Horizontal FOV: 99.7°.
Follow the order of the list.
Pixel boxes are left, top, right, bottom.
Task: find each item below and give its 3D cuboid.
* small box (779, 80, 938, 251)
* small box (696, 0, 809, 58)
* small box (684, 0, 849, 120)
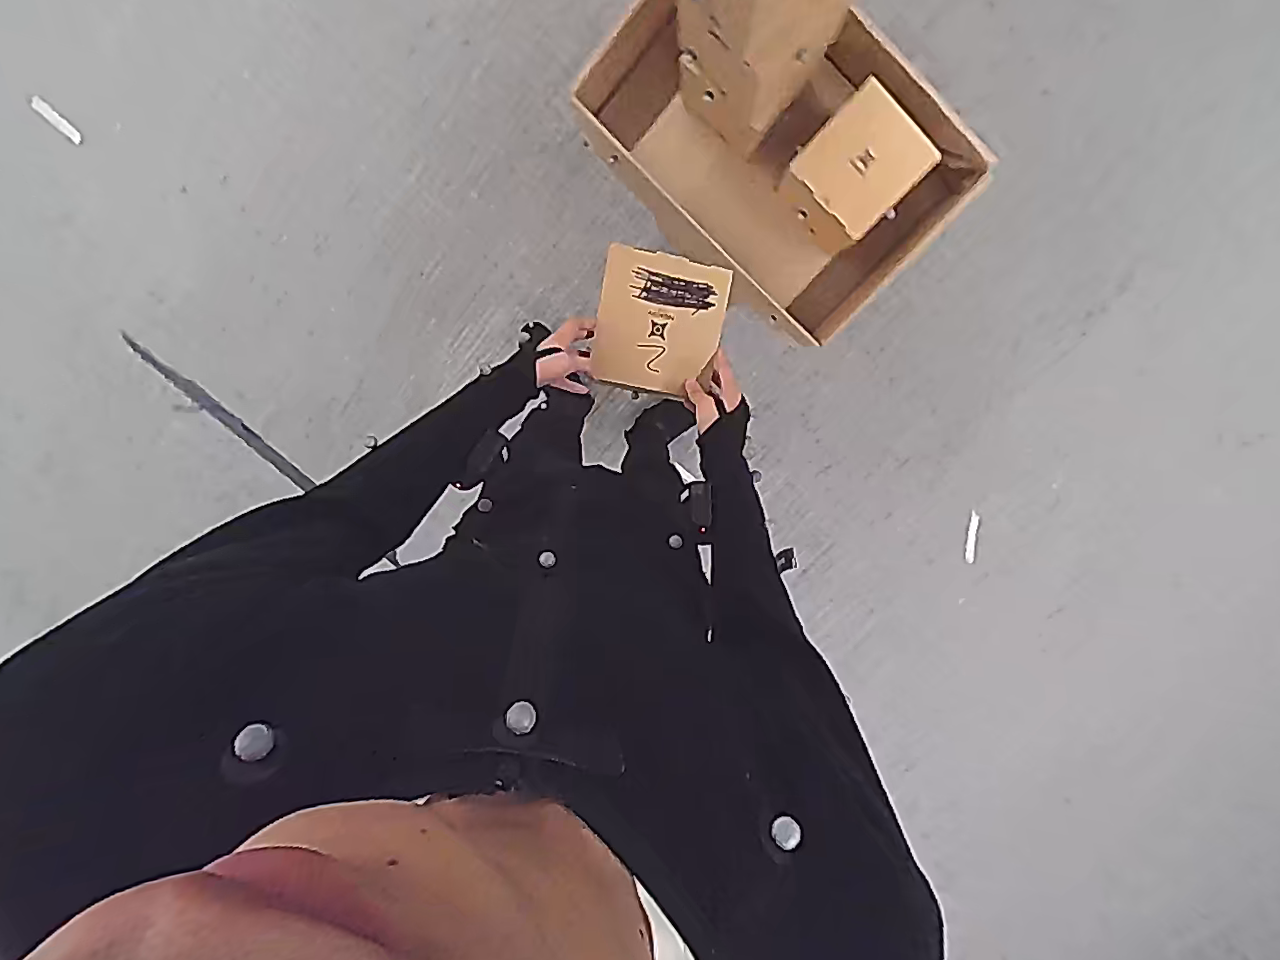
[{"bbox_3d":[0.368,-0.535,0.950,0.168,0.176,0.179,44,105,-7],"label":"small box"},{"bbox_3d":[0.141,-0.636,0.599,0.179,0.176,0.168,-41,99,14],"label":"small box"},{"bbox_3d":[0.176,-0.659,0.761,0.179,0.176,0.168,-42,99,13],"label":"small box"}]
